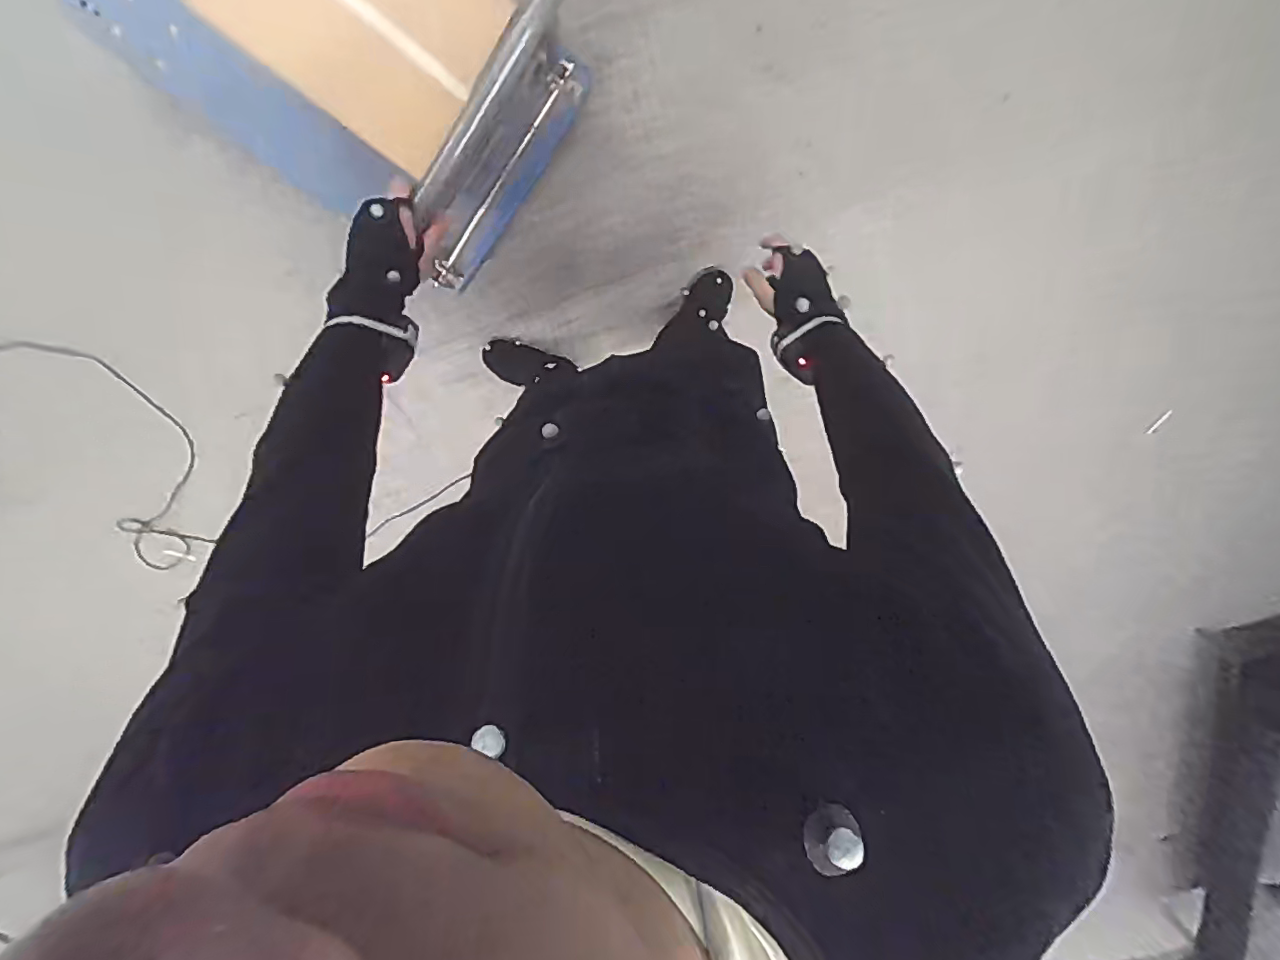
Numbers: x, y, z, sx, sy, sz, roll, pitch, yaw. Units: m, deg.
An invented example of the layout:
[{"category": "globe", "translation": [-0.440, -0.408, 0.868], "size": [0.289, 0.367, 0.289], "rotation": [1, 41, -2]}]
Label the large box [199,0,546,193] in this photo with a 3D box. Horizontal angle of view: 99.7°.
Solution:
[{"category": "large box", "translation": [-0.429, -0.783, 0.963], "size": [0.408, 0.320, 0.320], "rotation": [34, 108, -17]}]
